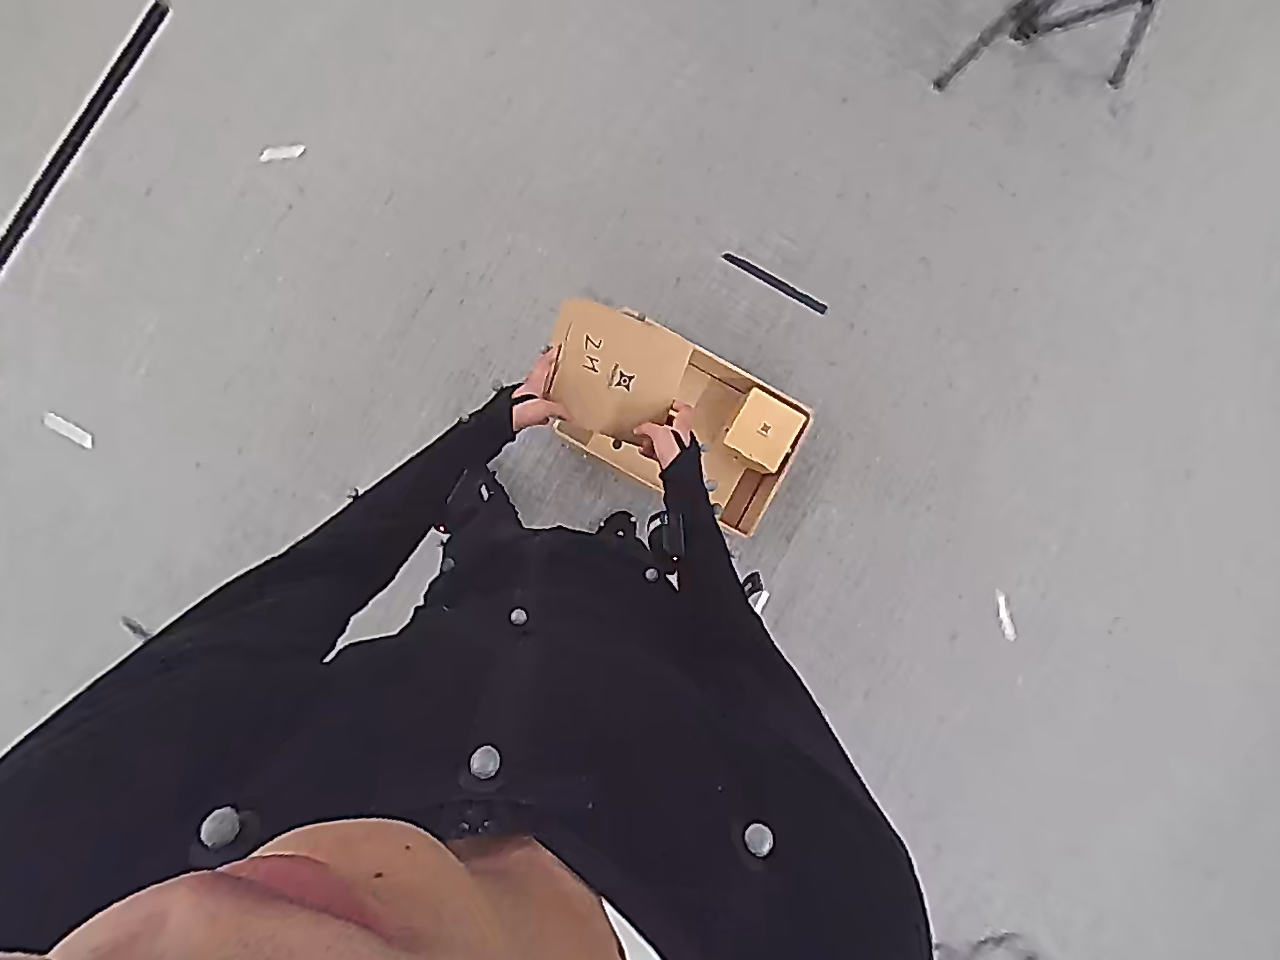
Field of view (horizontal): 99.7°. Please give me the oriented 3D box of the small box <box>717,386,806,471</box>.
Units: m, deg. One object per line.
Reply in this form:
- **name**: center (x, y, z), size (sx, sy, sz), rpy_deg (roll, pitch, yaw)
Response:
- **small box**: center (0.332, -0.141, 1.525), size (0.168, 0.176, 0.179), rpy_deg (30, 90, -1)

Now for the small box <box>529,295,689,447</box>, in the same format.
- **small box**: center (-0.056, -0.166, 0.816), size (0.179, 0.176, 0.168), rpy_deg (17, 100, -19)
